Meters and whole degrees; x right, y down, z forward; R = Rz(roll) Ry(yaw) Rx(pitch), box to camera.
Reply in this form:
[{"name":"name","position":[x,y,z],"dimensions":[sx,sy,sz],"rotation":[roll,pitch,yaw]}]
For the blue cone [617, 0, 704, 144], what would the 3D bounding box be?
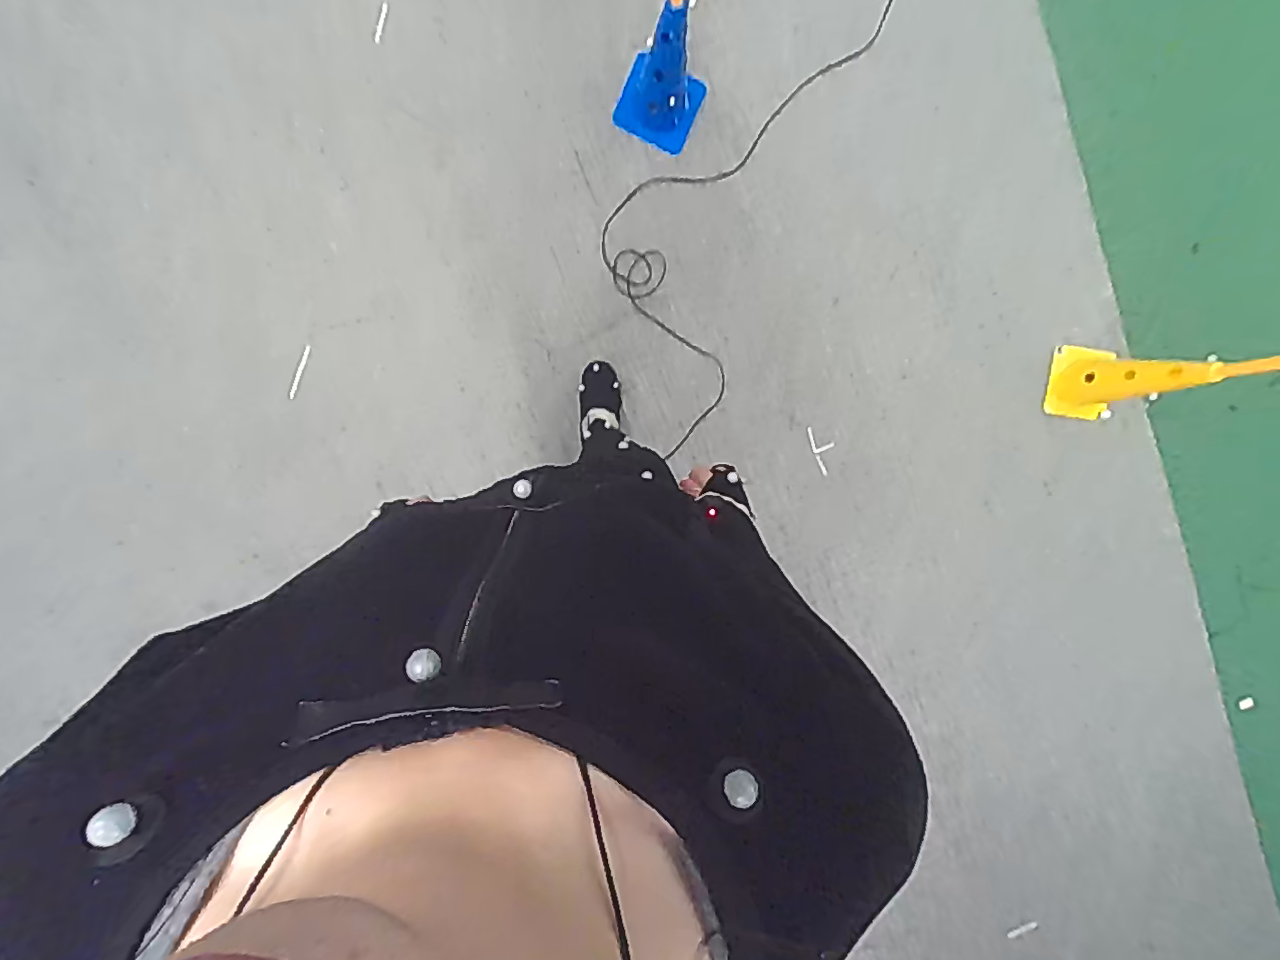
[{"name":"blue cone","position":[0.061,-0.959,1.222],"dimensions":[0.193,0.380,0.192],"rotation":[22,94,-5]}]
